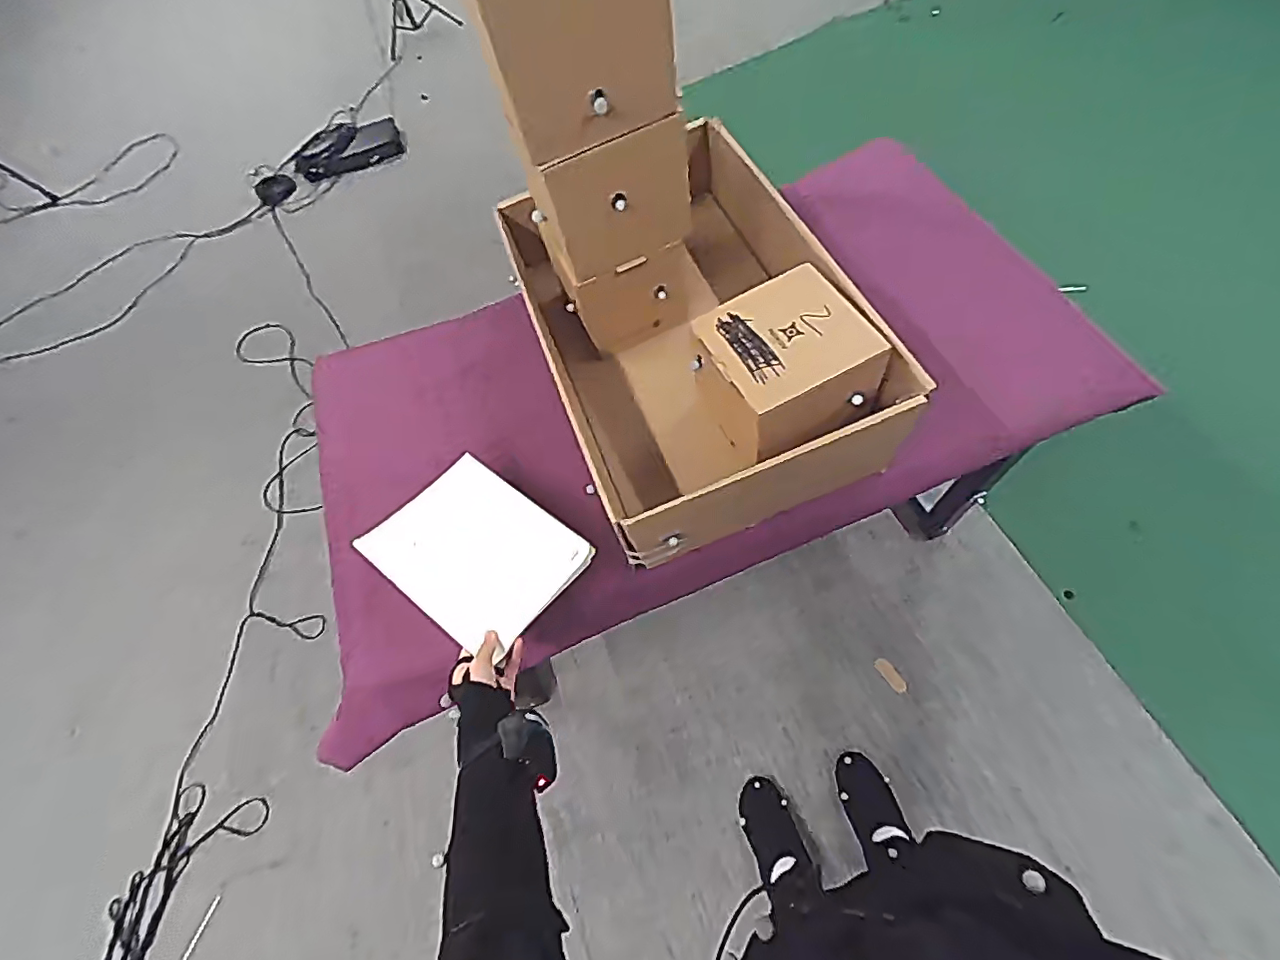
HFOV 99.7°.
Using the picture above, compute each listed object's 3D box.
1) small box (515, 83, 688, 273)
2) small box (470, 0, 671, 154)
[{"bbox_3d":[-0.048,-0.405,0.692,0.179,0.176,0.168,-25,64,-3],"label":"small box"},{"bbox_3d":[-0.074,-0.476,0.546,0.179,0.176,0.168,-22,64,-3],"label":"small box"}]
